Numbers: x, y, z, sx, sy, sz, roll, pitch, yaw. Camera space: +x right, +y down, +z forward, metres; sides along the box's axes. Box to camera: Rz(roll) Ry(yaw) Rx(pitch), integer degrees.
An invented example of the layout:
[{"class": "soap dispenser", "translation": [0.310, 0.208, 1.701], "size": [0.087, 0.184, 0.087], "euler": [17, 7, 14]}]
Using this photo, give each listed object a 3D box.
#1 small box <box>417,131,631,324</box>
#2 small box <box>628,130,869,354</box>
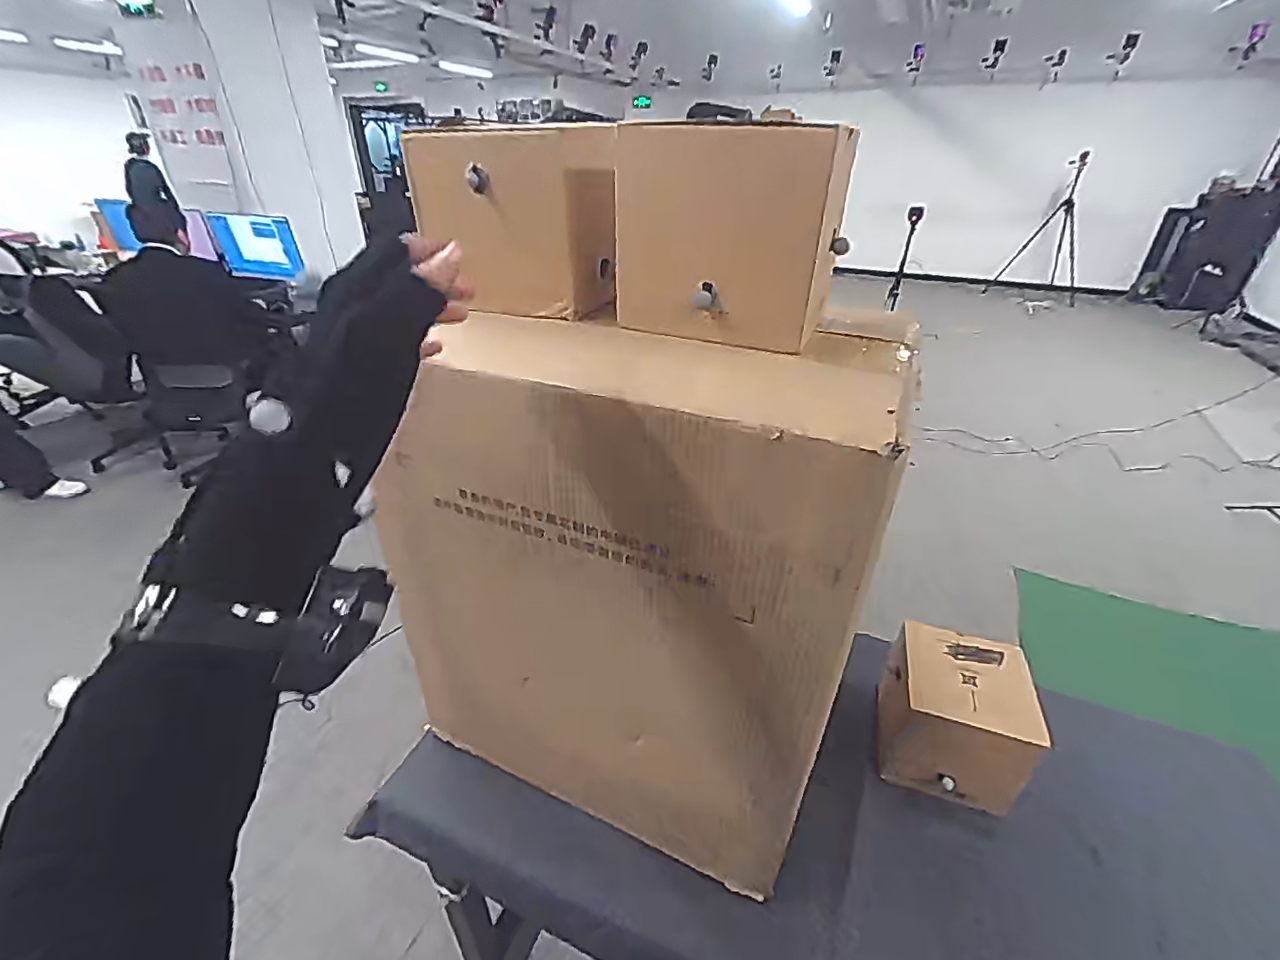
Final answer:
[{"class": "small box", "translation": [-0.104, -0.278, 0.589], "size": [0.179, 0.176, 0.168], "euler": [12, 35, 17]}, {"class": "small box", "translation": [0.100, -0.230, 0.515], "size": [0.179, 0.176, 0.168], "euler": [14, 34, 19]}]
